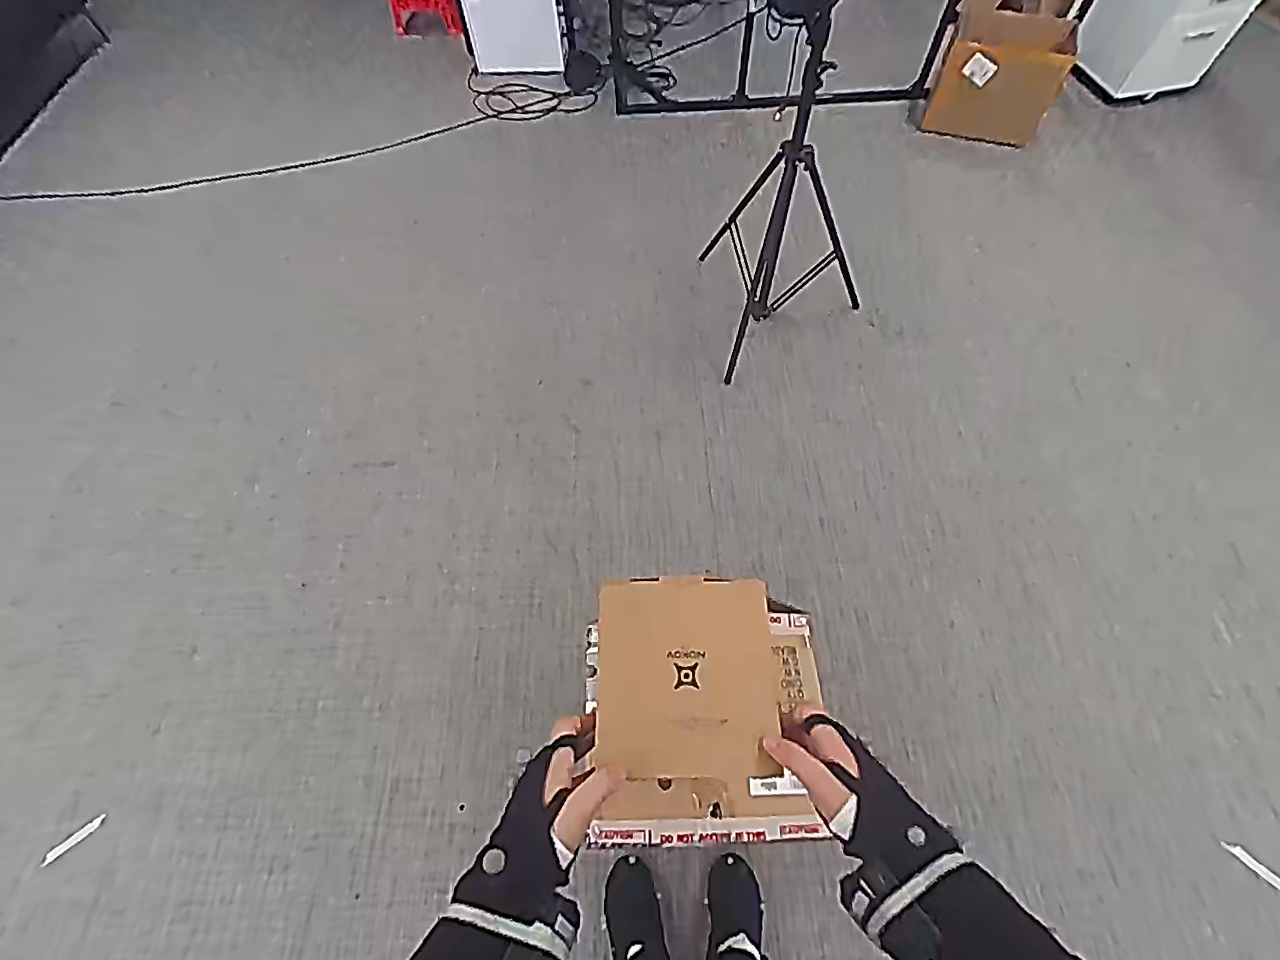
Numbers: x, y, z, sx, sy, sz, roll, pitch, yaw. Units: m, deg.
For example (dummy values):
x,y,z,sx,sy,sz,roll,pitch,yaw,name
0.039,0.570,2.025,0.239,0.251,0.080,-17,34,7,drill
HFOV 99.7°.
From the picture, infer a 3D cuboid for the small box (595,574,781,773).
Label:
x,y,z,sx,sy,sz,roll,pitch,yaw,name
0.038,0.207,0.574,0.168,0.176,0.179,0,66,-2,small box
